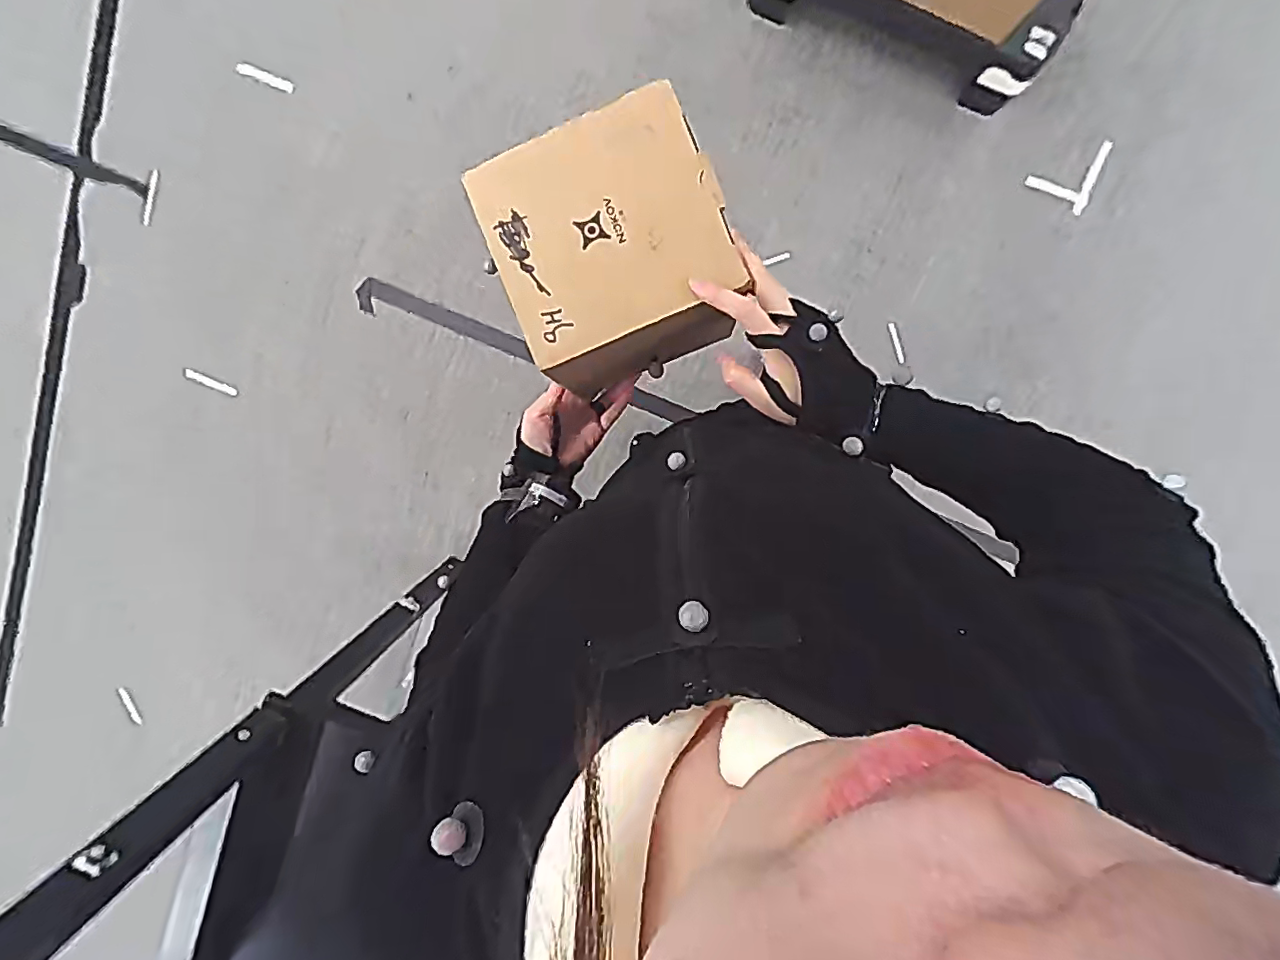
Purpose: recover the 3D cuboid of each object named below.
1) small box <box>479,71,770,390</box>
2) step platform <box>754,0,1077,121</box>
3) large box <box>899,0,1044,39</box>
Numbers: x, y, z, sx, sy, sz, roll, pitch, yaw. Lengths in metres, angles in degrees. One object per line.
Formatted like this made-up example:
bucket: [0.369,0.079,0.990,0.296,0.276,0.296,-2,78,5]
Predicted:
small box: [-0.009,-0.193,0.475,0.179,0.176,0.168,-21,89,4]
step platform: [0.583,-1.107,1.172,0.684,0.204,0.286,28,100,-1]
large box: [0.606,-1.079,0.934,0.408,0.320,0.320,23,100,0]
